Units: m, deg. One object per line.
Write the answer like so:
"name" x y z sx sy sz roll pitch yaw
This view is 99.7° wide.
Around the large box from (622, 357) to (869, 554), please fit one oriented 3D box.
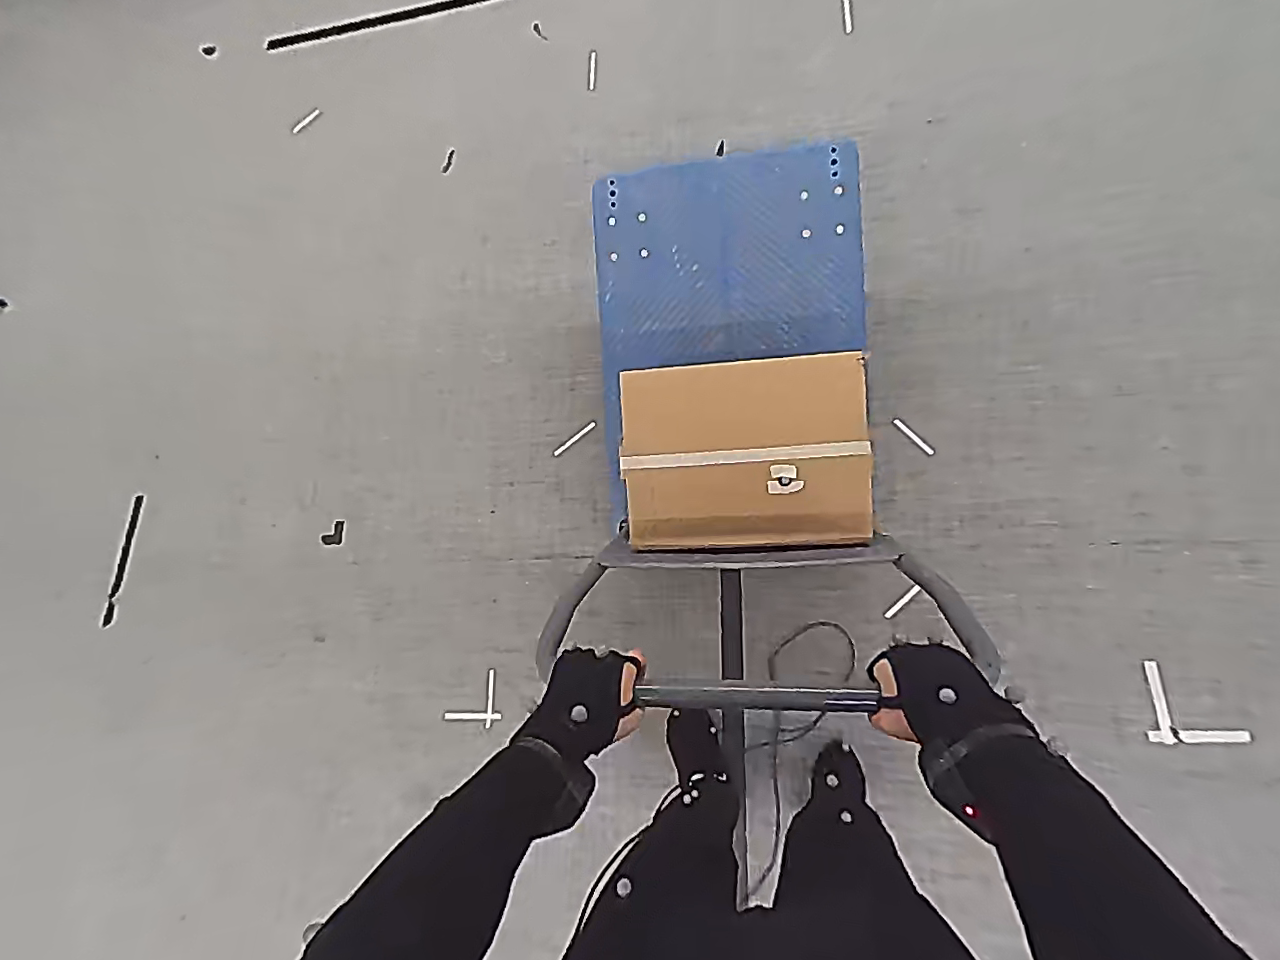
"large box" 0.196 -0.040 1.073 0.408 0.320 0.320 -4 92 9
